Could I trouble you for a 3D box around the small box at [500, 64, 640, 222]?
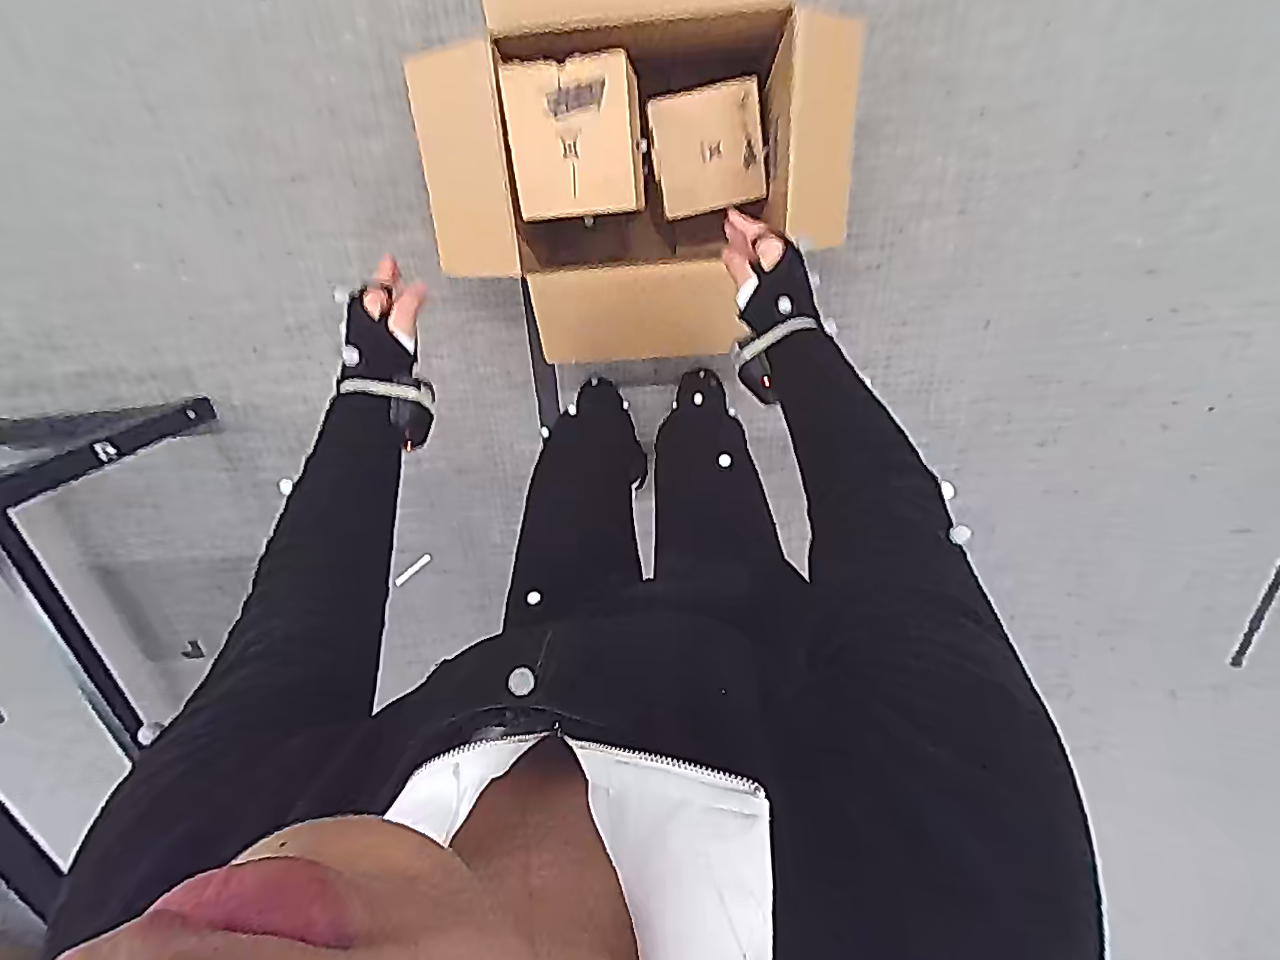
[{"bbox_3d":[-0.091,-0.484,0.801,0.168,0.176,0.179,-2,117,6],"label":"small box"}]
